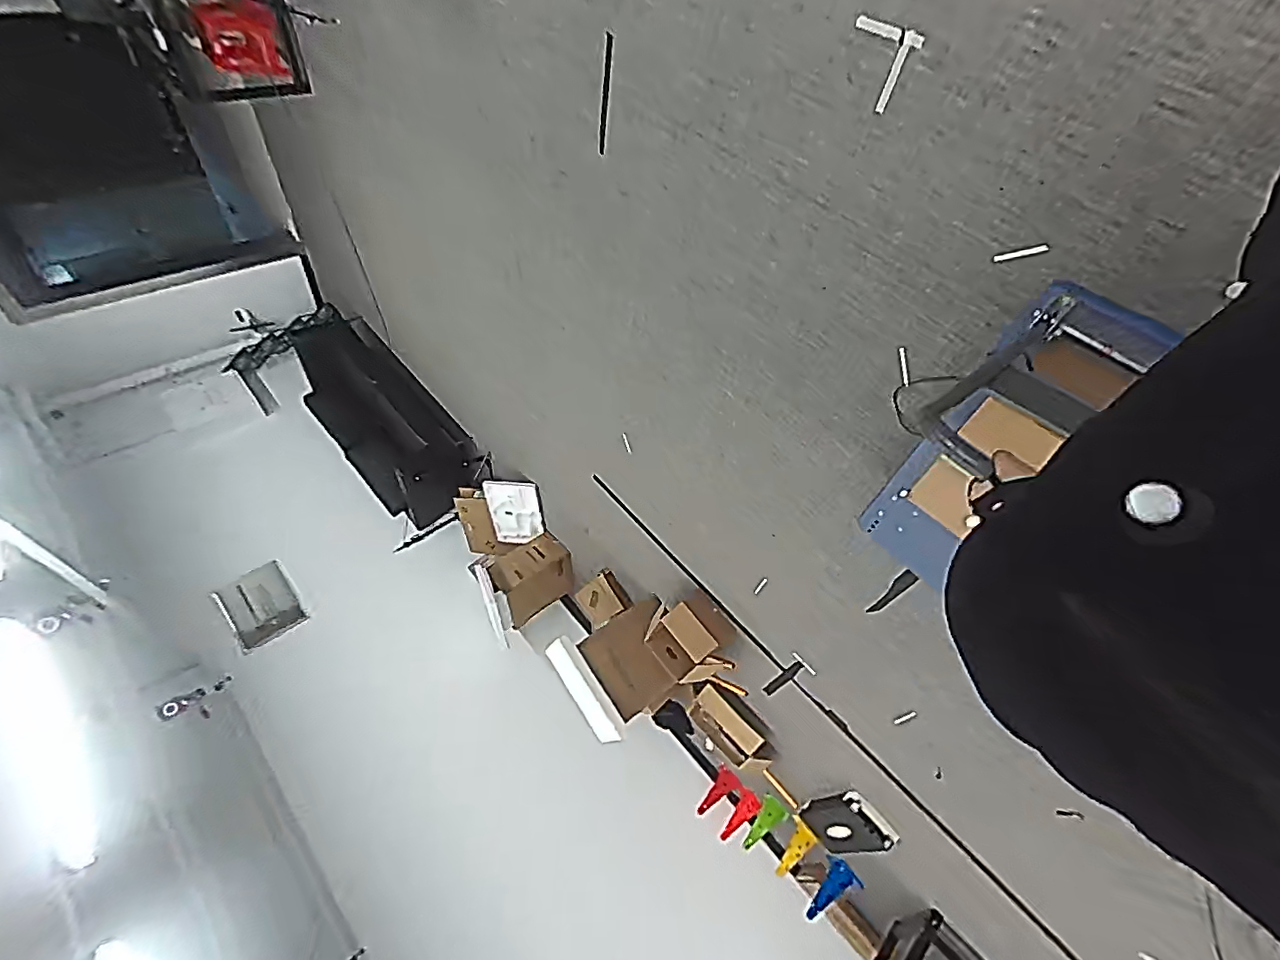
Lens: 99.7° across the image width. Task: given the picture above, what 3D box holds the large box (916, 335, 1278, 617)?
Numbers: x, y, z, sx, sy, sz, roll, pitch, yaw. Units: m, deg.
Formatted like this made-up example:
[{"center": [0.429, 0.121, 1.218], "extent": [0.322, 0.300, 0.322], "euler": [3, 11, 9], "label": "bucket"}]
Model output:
[{"center": [0.871, -0.019, 1.076], "extent": [0.408, 0.320, 0.320], "euler": [44, 147, 24], "label": "large box"}]
